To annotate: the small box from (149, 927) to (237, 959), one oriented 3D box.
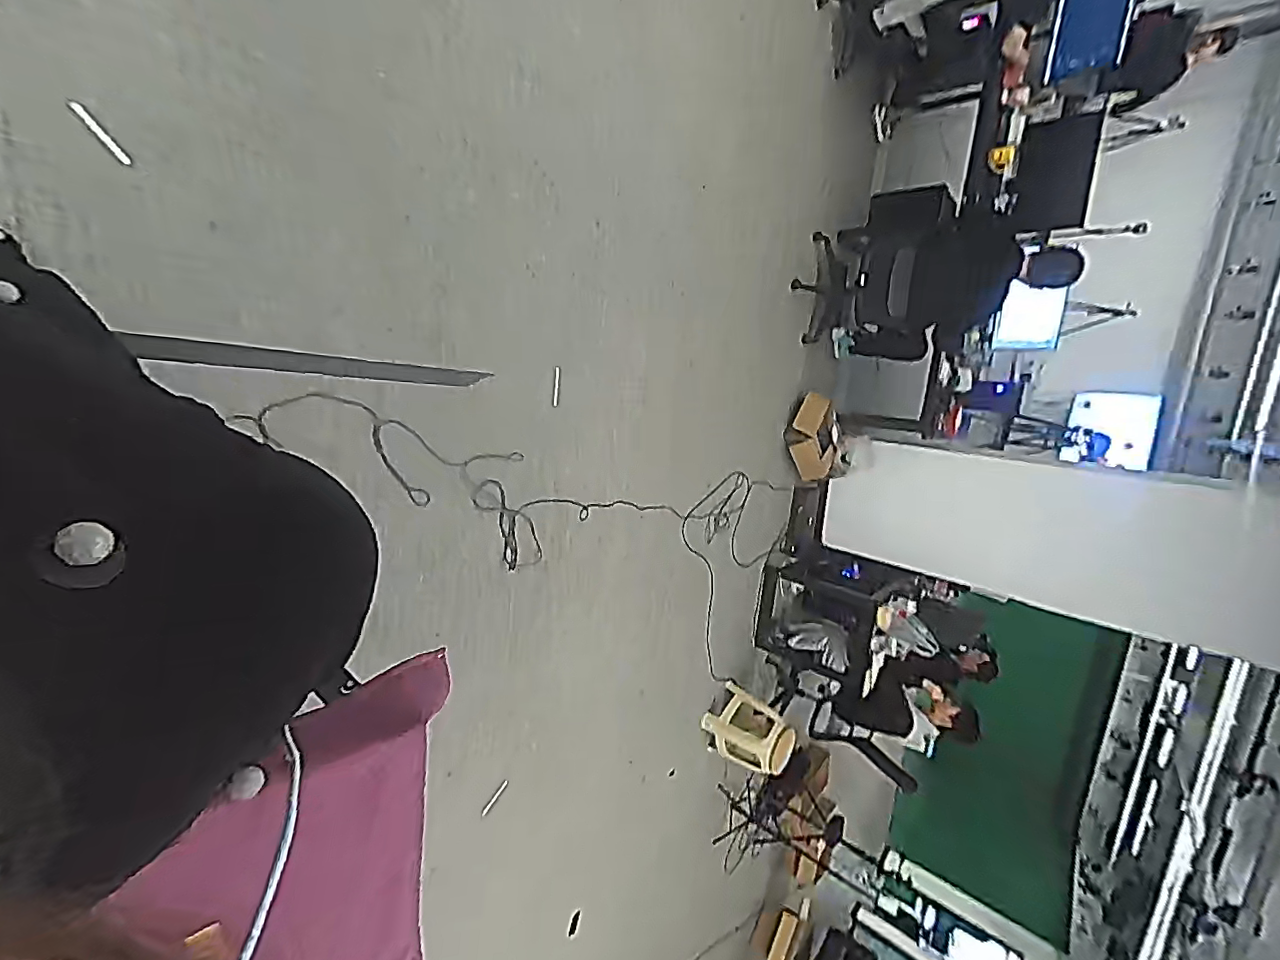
[{"bbox_3d":[-0.584,0.718,0.659,0.168,0.176,0.179,-7,105,-49],"label":"small box"}]
